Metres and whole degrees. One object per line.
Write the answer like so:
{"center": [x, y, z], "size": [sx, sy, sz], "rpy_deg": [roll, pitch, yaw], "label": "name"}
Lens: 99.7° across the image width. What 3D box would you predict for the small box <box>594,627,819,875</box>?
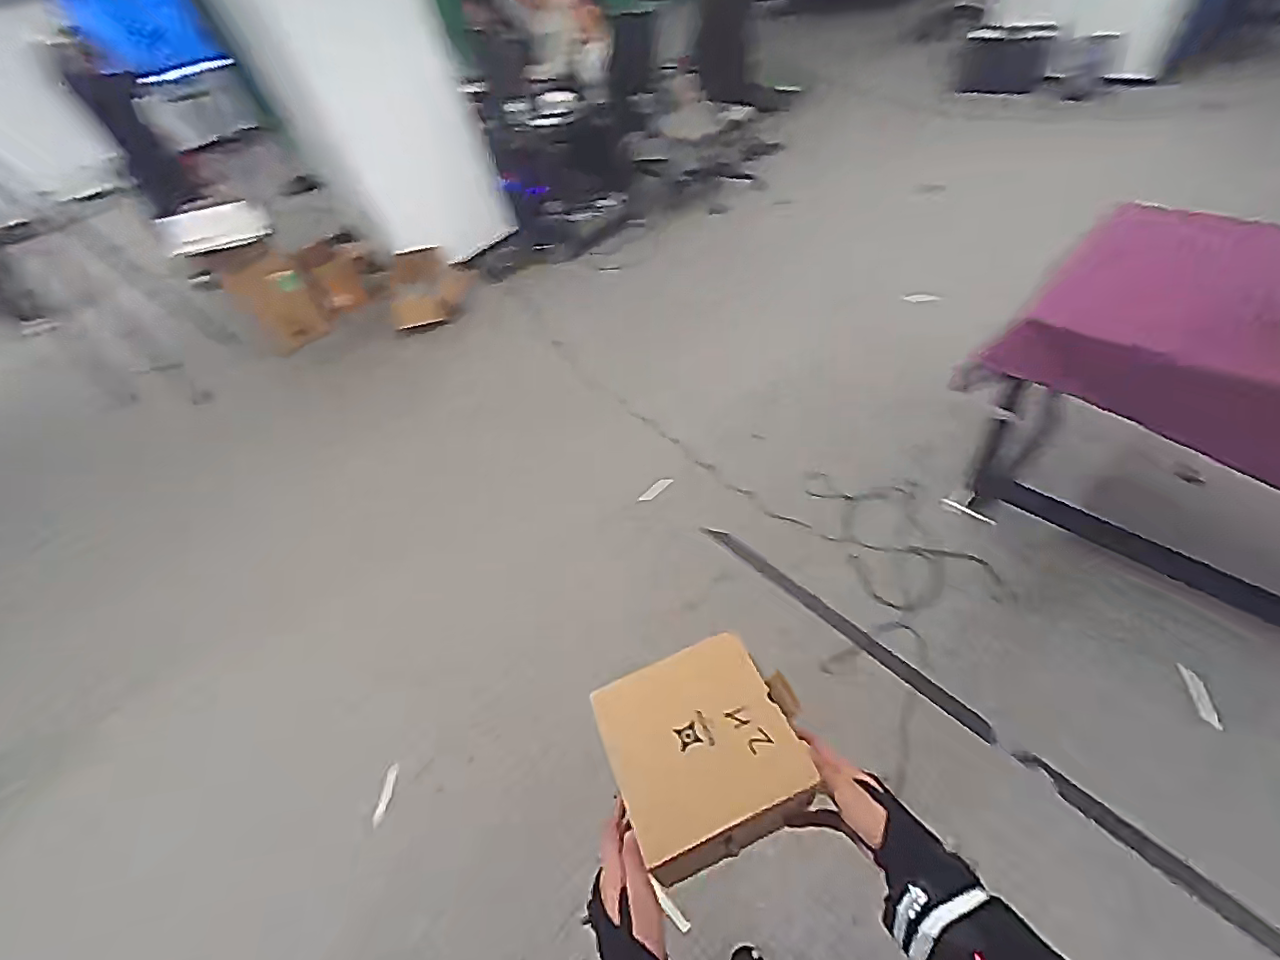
{"center": [0.069, 0.296, 0.586], "size": [0.179, 0.176, 0.168], "rpy_deg": [-20, 49, -8], "label": "small box"}
